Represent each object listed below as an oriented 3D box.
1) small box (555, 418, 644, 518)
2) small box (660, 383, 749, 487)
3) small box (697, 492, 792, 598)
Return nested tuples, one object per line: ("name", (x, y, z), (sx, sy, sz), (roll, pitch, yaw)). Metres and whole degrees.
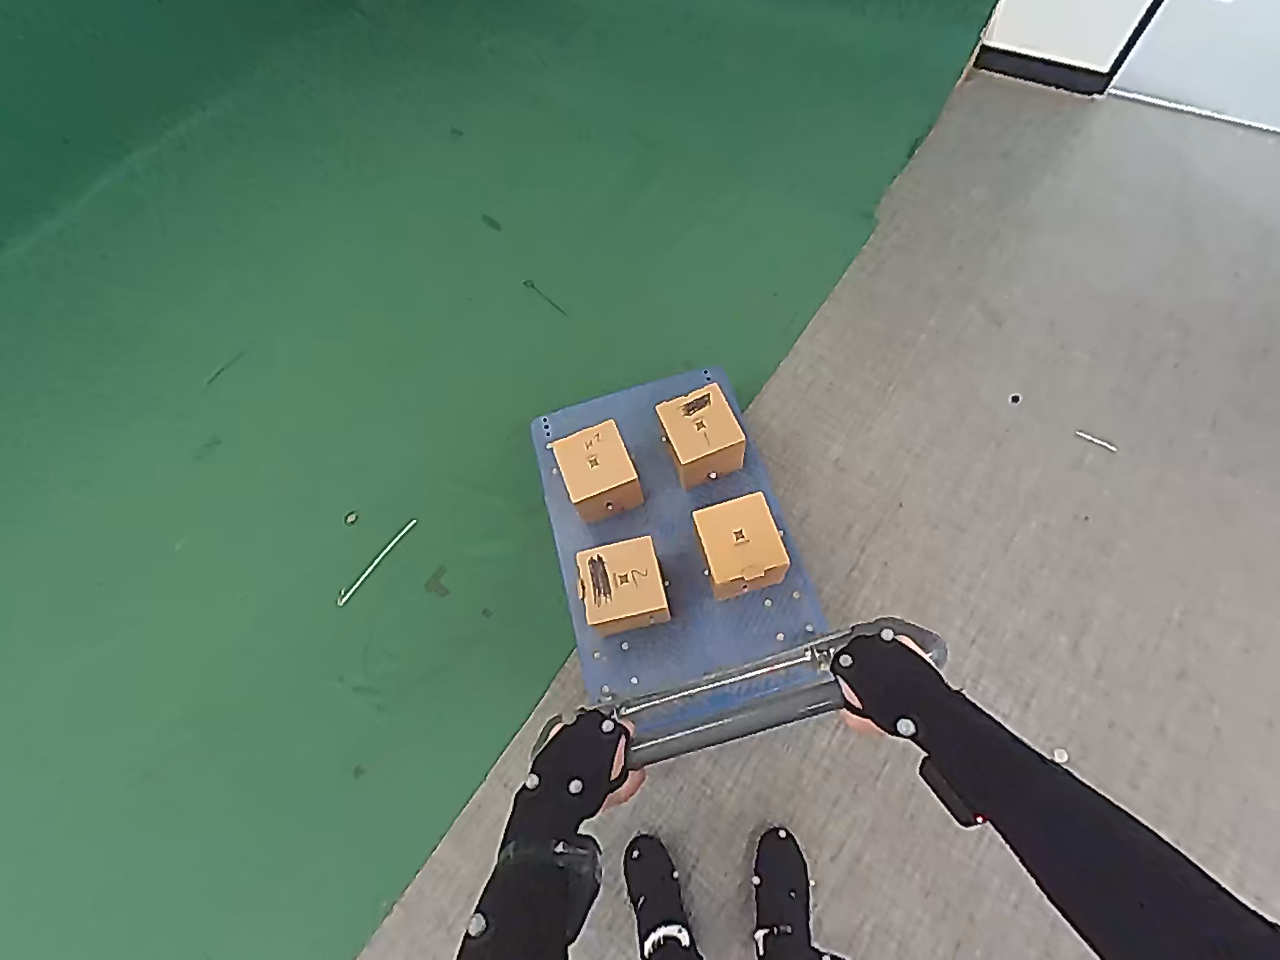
("small box", (-0.096, -0.020, 1.356), (0.168, 0.176, 0.179), (-21, 66, -3))
("small box", (0.159, -0.108, 1.363), (0.168, 0.176, 0.179), (-21, 67, -2))
("small box", (0.231, 0.155, 1.246), (0.168, 0.176, 0.179), (-16, 67, 0))
